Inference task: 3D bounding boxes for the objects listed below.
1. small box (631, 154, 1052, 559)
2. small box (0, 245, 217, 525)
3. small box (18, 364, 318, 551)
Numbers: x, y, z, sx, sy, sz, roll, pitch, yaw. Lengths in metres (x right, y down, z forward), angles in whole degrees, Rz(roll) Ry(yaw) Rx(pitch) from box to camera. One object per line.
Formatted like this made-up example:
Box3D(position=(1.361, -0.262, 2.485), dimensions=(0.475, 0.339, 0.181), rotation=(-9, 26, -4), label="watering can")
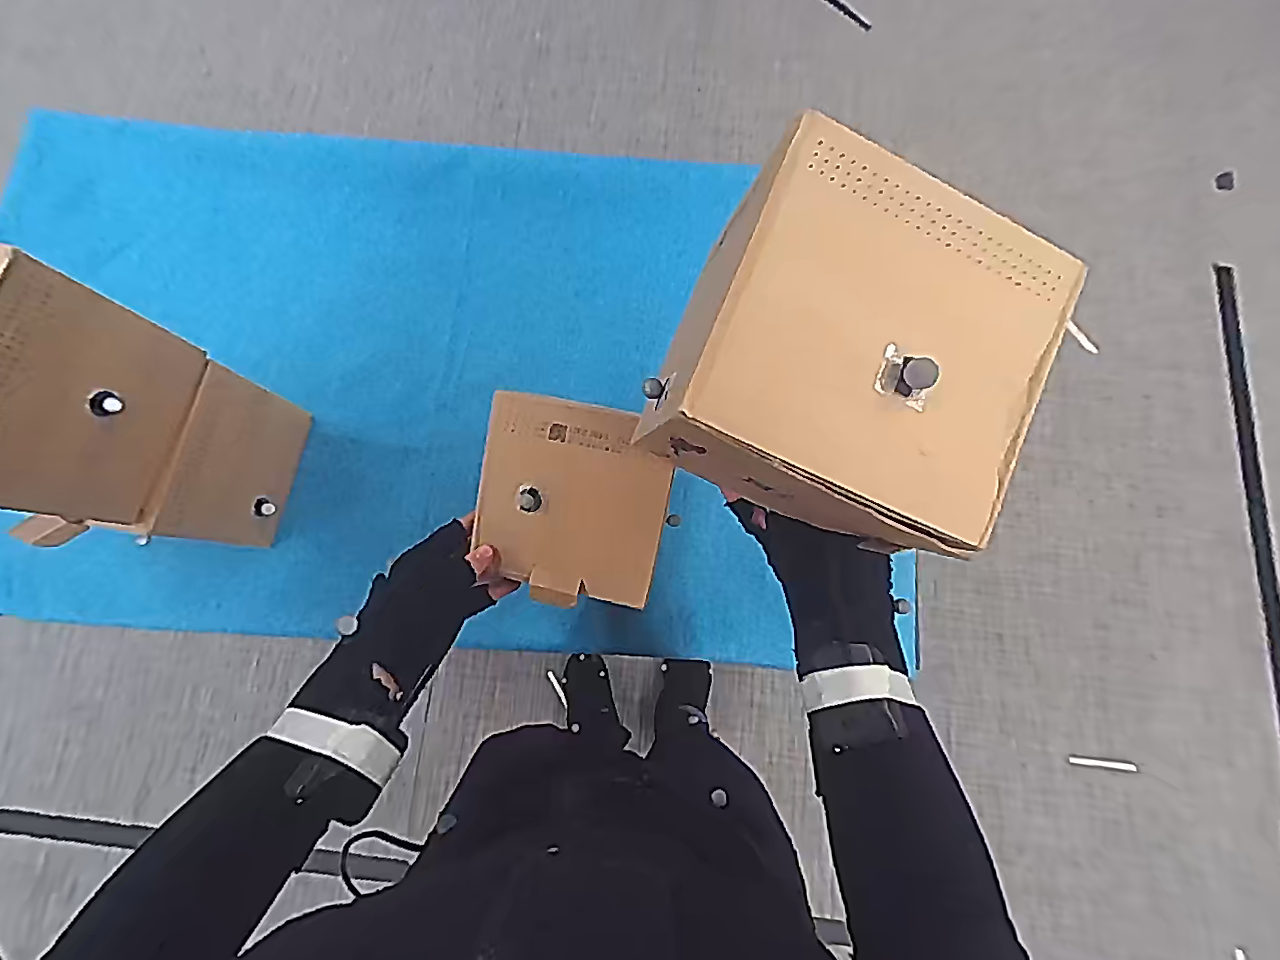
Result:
Box3D(position=(0.114, -0.066, 0.354), dimensions=(0.179, 0.168, 0.176), rotation=(23, 85, -8), label="small box")
Box3D(position=(-0.510, -0.074, 0.435), dimensions=(0.168, 0.176, 0.179), rotation=(14, 80, 3), label="small box")
Box3D(position=(-0.503, -0.028, 0.593), dimensions=(0.168, 0.176, 0.179), rotation=(10, 79, 2), label="small box")
